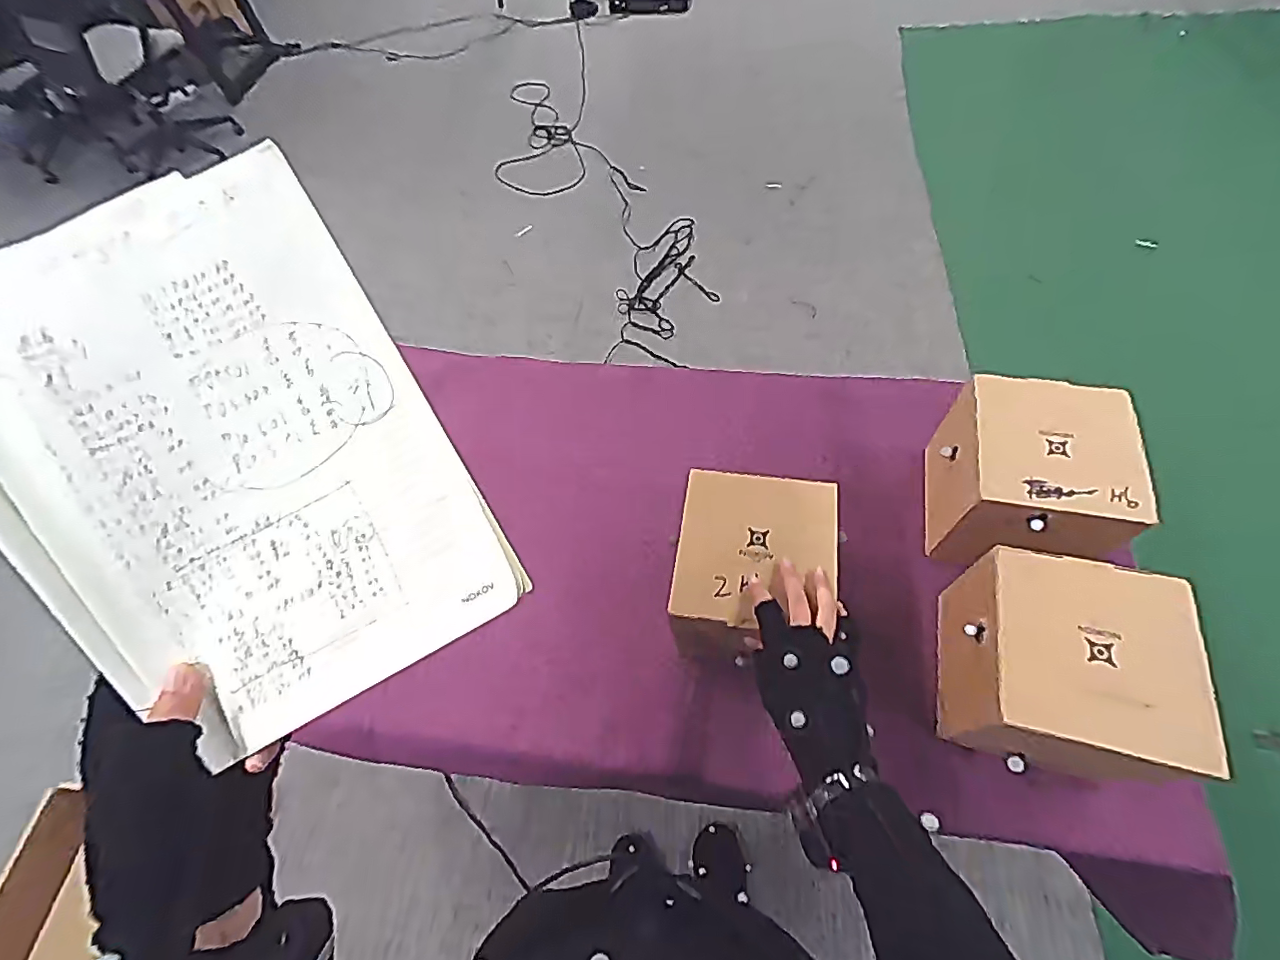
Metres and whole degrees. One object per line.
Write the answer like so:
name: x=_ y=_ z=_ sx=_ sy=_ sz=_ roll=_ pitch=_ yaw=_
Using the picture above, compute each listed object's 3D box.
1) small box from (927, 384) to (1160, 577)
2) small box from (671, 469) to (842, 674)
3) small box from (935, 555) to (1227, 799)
small box: x=0.466 y=0.012 z=0.660 sx=0.168 sy=0.176 sz=0.179 roll=10 pitch=61 yaw=12
small box: x=0.133 y=0.112 z=0.637 sx=0.168 sy=0.176 sz=0.179 roll=7 pitch=61 yaw=10
small box: x=0.421 y=0.204 z=0.554 sx=0.168 sy=0.176 sz=0.179 roll=12 pitch=62 yaw=14
